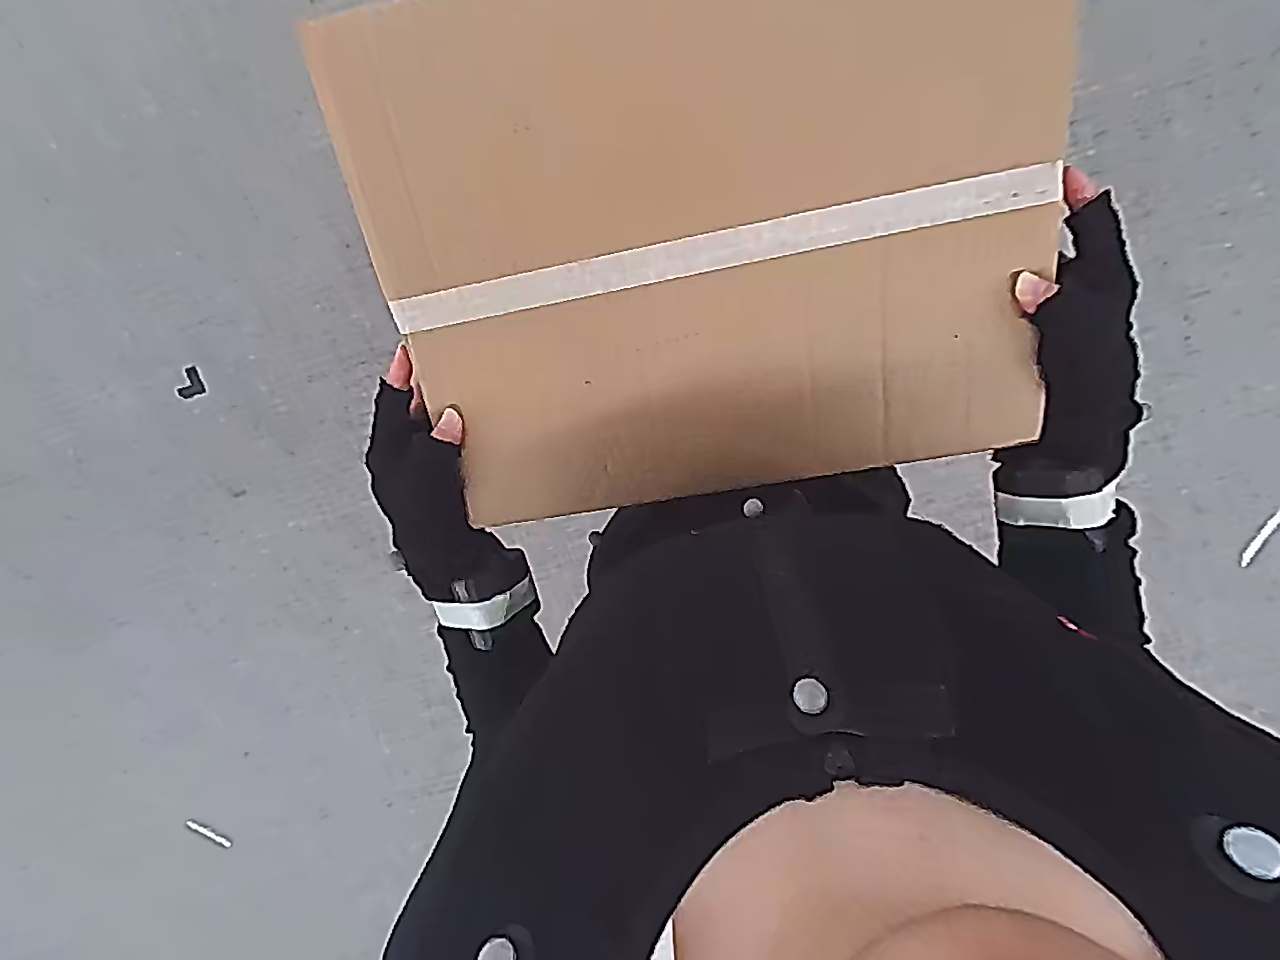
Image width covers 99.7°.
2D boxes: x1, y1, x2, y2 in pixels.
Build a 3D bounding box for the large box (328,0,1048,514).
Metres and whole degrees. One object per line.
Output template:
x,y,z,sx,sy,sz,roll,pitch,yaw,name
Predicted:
0.045,-0.200,0.479,0.408,0.320,0.320,-9,112,6,large box
